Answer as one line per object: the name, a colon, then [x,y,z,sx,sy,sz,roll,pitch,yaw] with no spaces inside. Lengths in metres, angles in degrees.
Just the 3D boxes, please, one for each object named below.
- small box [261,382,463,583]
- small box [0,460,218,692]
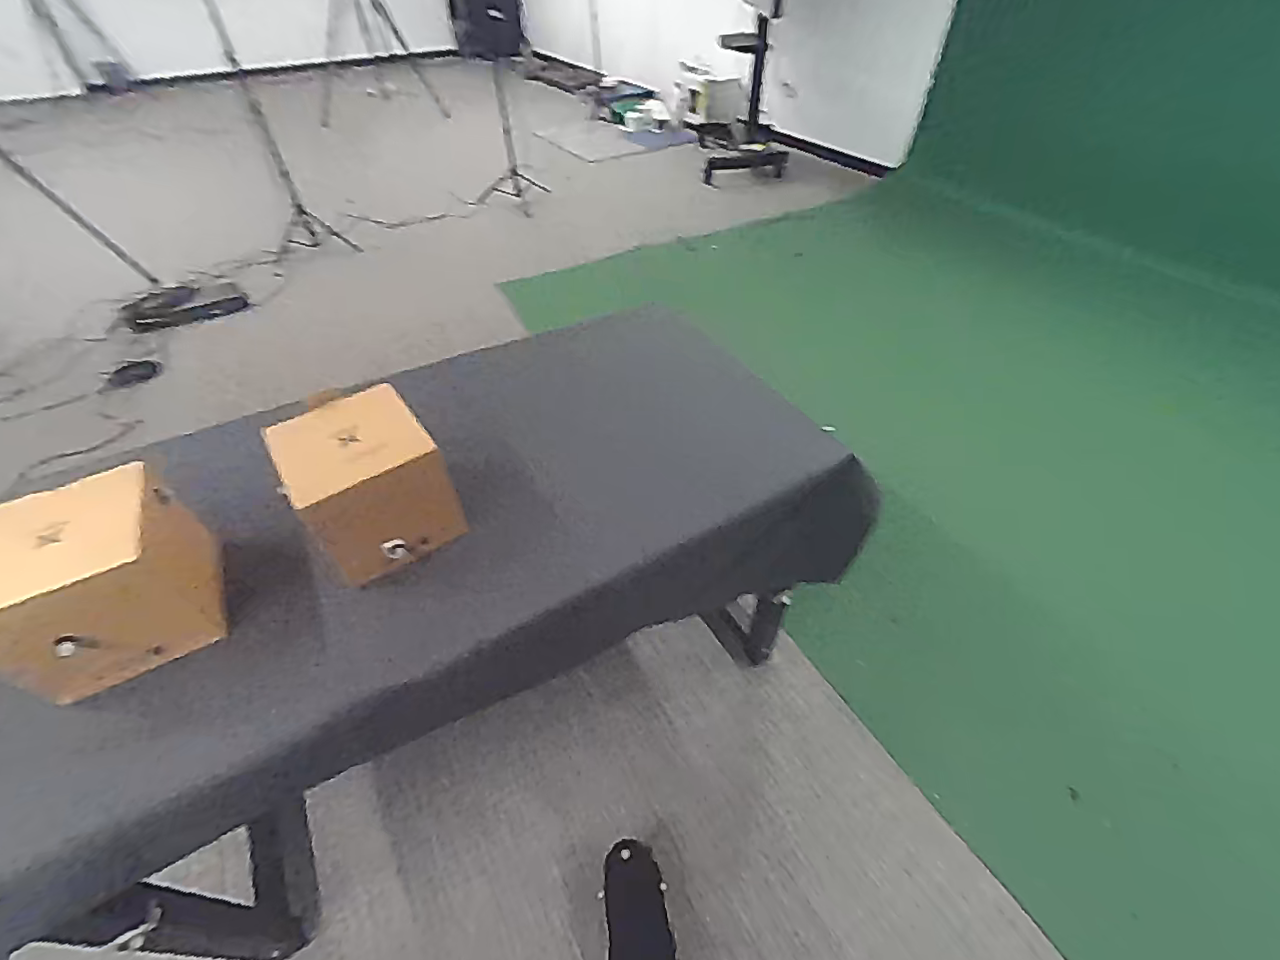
small box: [-0.364,0.002,0.726,0.168,0.176,0.179,-31,53,-25]
small box: [-0.621,0.114,0.619,0.168,0.176,0.179,-25,49,-22]
